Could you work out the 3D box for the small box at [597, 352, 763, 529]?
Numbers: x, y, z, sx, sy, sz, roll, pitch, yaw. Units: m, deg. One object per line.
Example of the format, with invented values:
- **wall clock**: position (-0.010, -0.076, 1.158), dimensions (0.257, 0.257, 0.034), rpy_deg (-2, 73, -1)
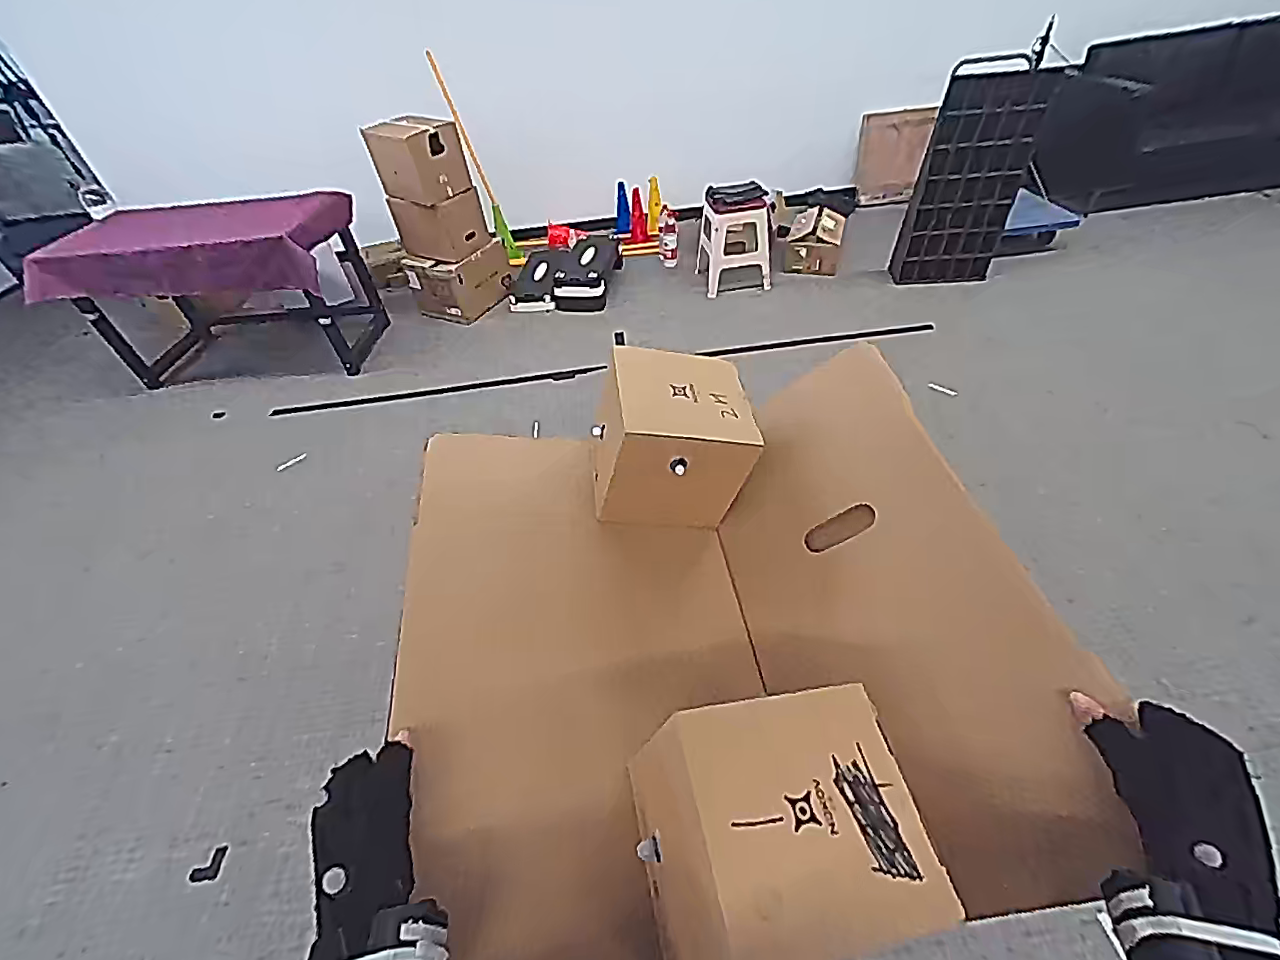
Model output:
- **small box**: position (0.039, -0.047, 0.735), dimensions (0.179, 0.176, 0.168), rpy_deg (5, 49, -15)
